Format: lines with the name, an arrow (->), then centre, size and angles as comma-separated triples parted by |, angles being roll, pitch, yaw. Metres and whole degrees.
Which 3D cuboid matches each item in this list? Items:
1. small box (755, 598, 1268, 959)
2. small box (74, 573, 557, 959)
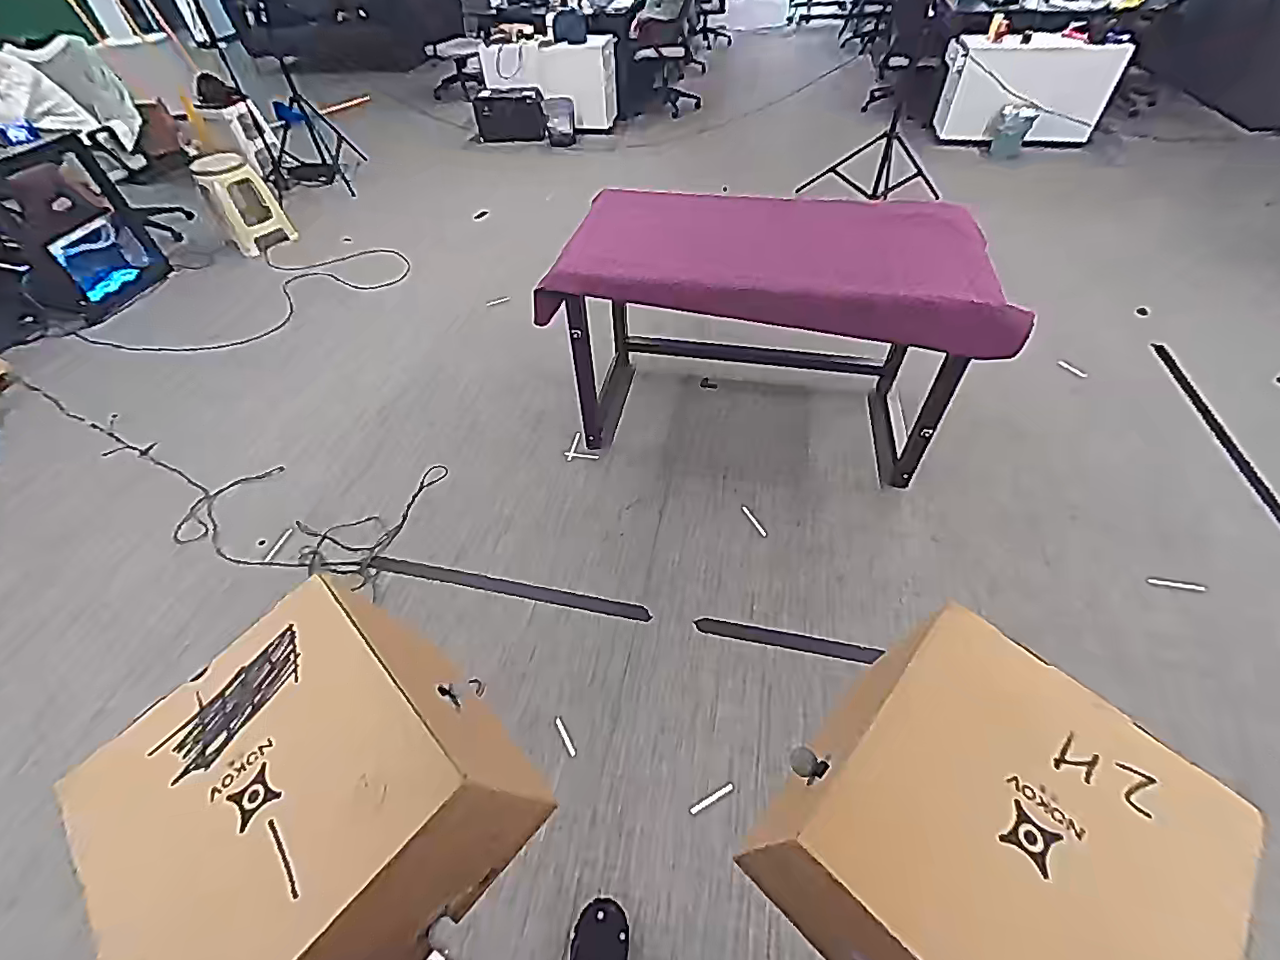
small box -> 0.188, 0.213, 0.325 | 0.168, 0.176, 0.179 | 40, 60, 23
small box -> -0.183, 0.199, 0.349 | 0.179, 0.176, 0.168 | 35, 69, 28
